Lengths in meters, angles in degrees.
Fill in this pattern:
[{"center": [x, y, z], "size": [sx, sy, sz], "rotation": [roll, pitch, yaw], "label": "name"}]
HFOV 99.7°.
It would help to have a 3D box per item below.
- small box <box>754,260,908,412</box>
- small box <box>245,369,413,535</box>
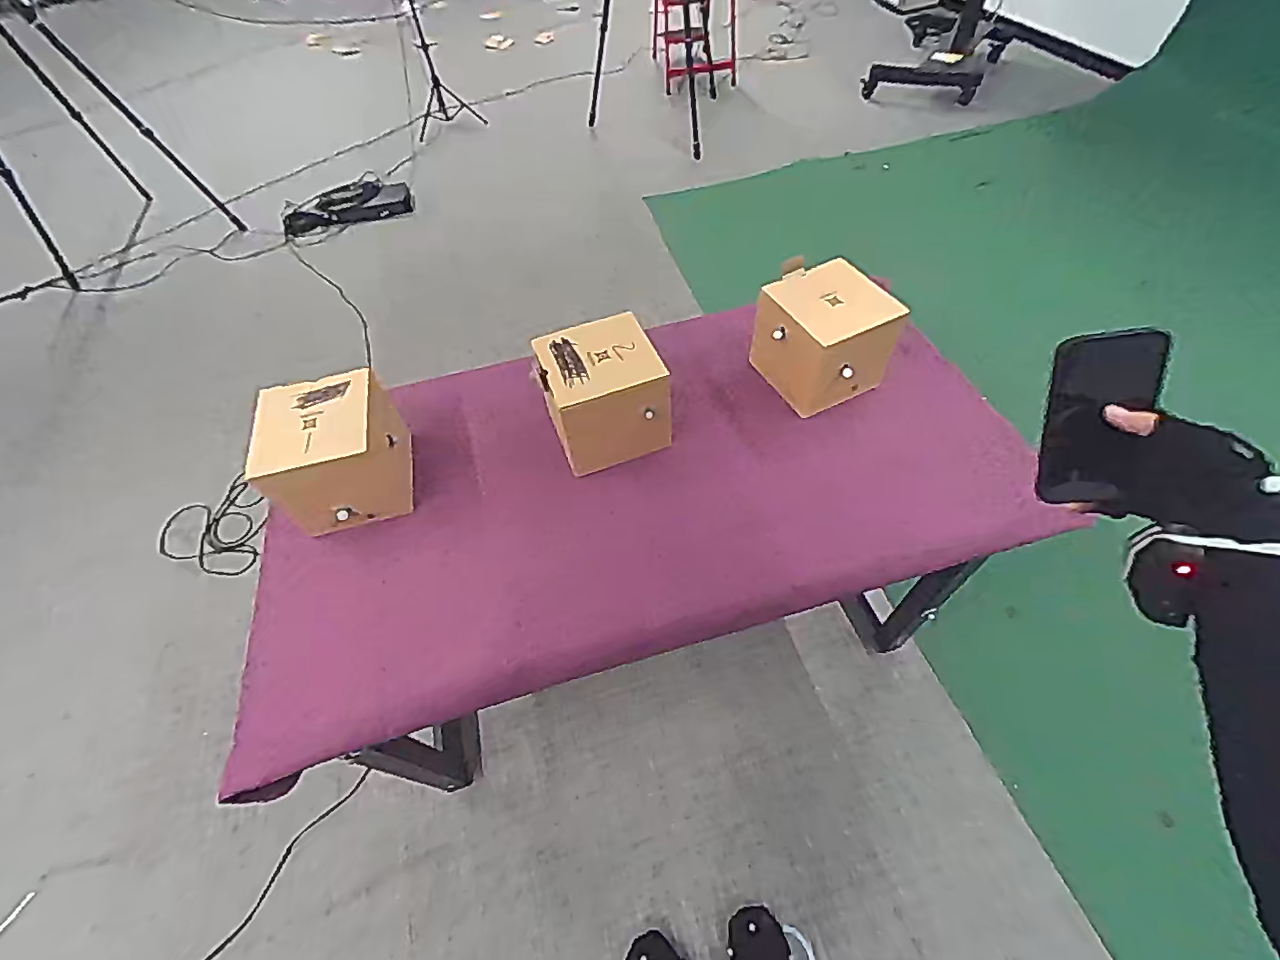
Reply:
[{"center": [0.316, -0.239, 0.934], "size": [0.168, 0.176, 0.179], "rotation": [-24, 56, -12], "label": "small box"}, {"center": [-0.469, -0.041, 0.846], "size": [0.168, 0.176, 0.179], "rotation": [-14, 56, -6], "label": "small box"}]
